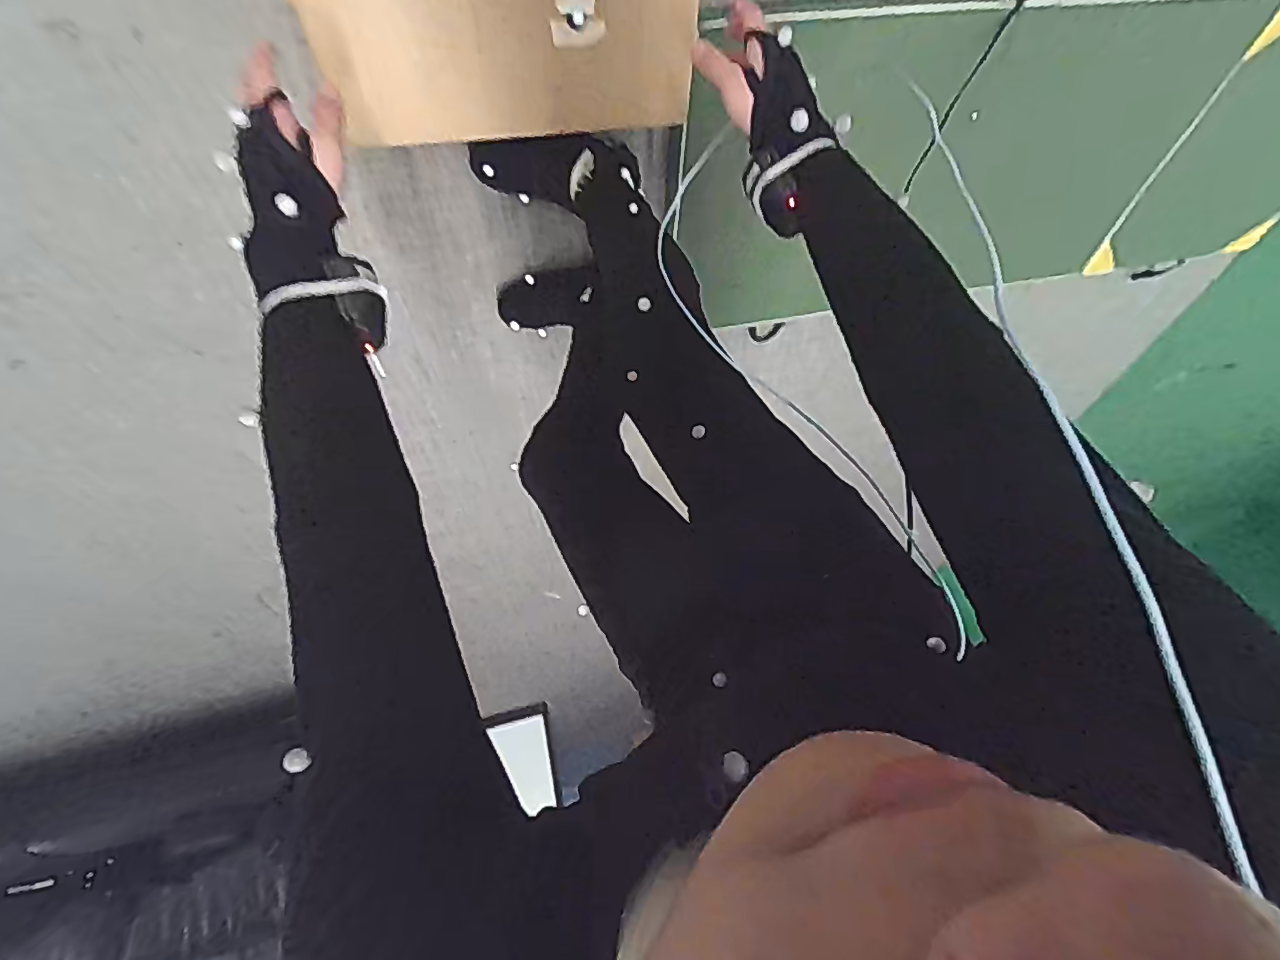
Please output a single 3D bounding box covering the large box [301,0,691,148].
[{"bbox_3d":[-0.176,-0.624,0.616,0.408,0.320,0.320,-12,144,-12],"label":"large box"}]
